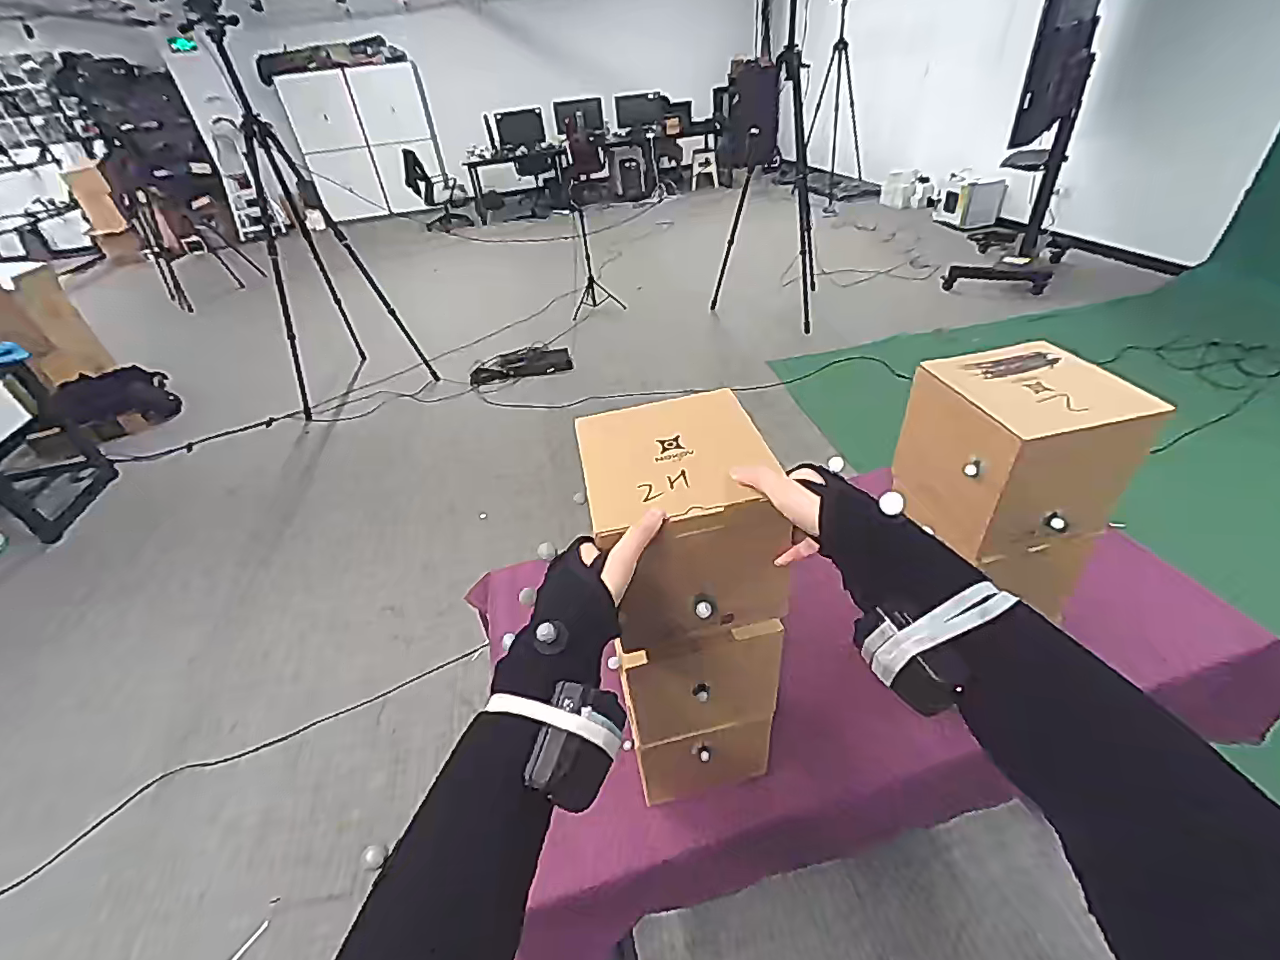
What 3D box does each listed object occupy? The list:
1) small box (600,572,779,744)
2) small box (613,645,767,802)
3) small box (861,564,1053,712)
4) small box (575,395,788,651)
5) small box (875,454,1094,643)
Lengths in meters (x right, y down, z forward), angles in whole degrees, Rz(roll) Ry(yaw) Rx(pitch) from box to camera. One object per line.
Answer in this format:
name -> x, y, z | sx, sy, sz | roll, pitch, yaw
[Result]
small box -> 0.057, 0.196, 0.676 | 0.179, 0.176, 0.168 | -13, 38, -6
small box -> 0.068, 0.328, 0.772 | 0.179, 0.176, 0.168 | -11, 38, -6
small box -> 0.471, 0.226, 0.837 | 0.179, 0.176, 0.168 | -12, 37, -7
small box -> 0.035, 0.040, 0.548 | 0.168, 0.176, 0.179 | -13, 40, -4
small box -> 0.451, 0.091, 0.746 | 0.168, 0.176, 0.179 | -12, 38, -6
